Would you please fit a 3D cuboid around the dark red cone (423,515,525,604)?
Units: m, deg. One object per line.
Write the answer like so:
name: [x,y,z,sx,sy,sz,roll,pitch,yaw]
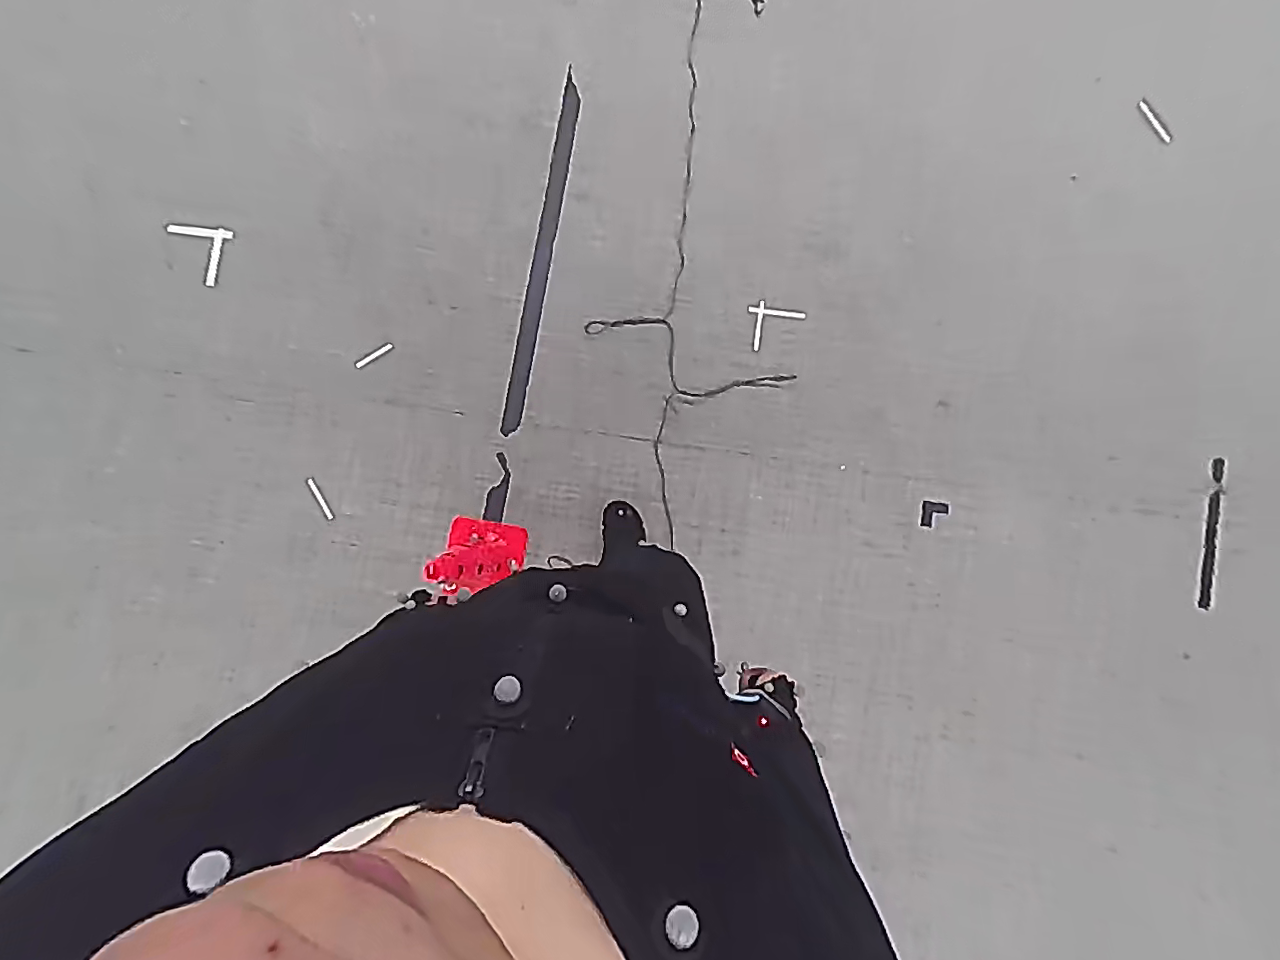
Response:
dark red cone: [-0.388,0.180,1.178,0.201,0.394,0.202,9,85,-1]
